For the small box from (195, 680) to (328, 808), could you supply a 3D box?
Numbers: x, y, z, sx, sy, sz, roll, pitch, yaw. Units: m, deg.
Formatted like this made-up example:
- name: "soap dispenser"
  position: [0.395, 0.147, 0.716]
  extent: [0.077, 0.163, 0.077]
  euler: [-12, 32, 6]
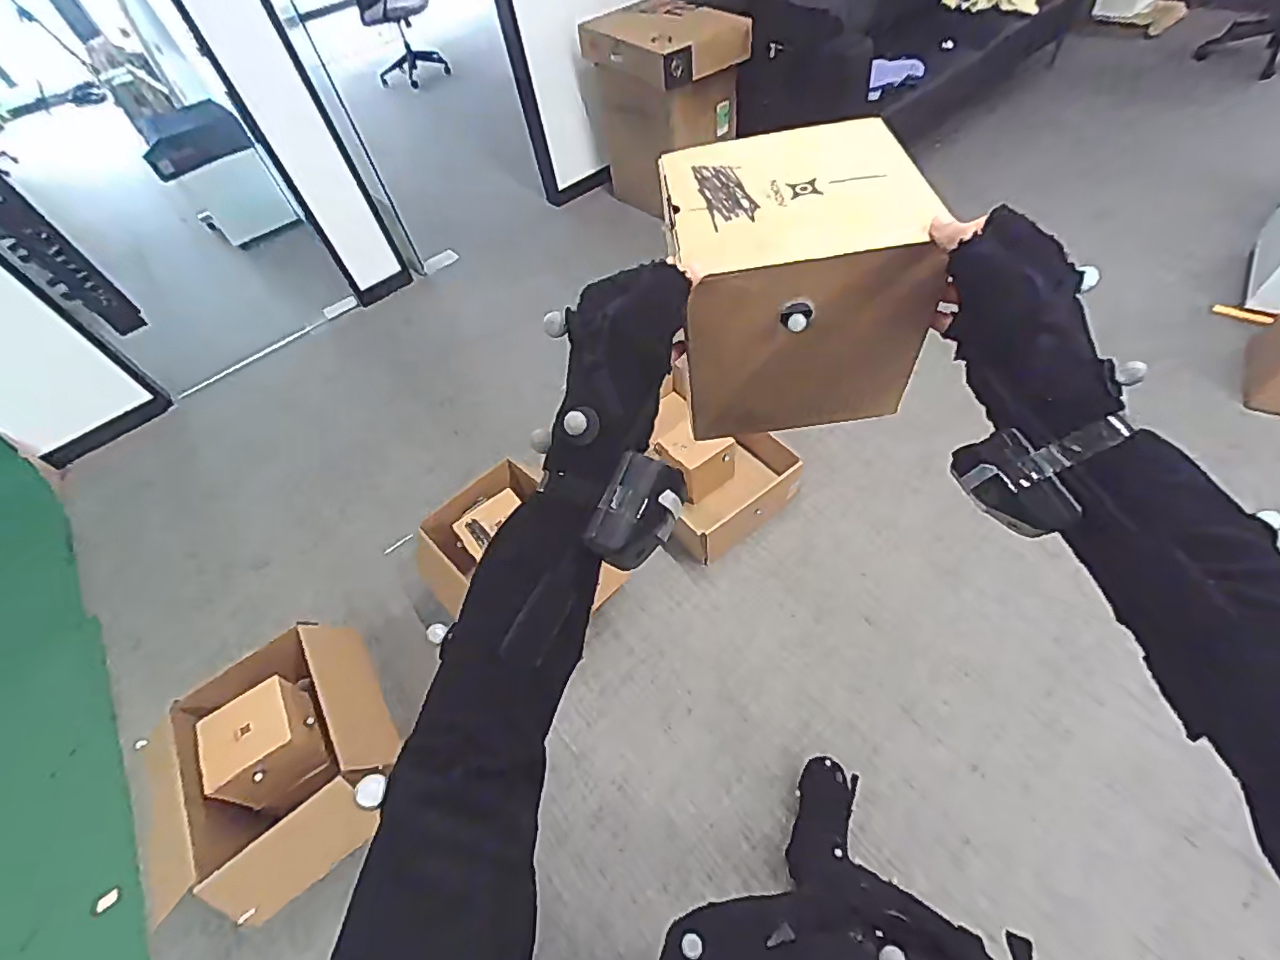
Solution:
- name: "small box"
  position: [-0.817, 0.580, 1.184]
  extent: [0.179, 0.176, 0.168]
  euler: [-32, 54, -17]

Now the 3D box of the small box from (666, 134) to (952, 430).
- name: "small box"
  position: [0.122, -0.159, 0.463]
  extent: [0.179, 0.176, 0.168]
  euler: [-7, 55, 3]
